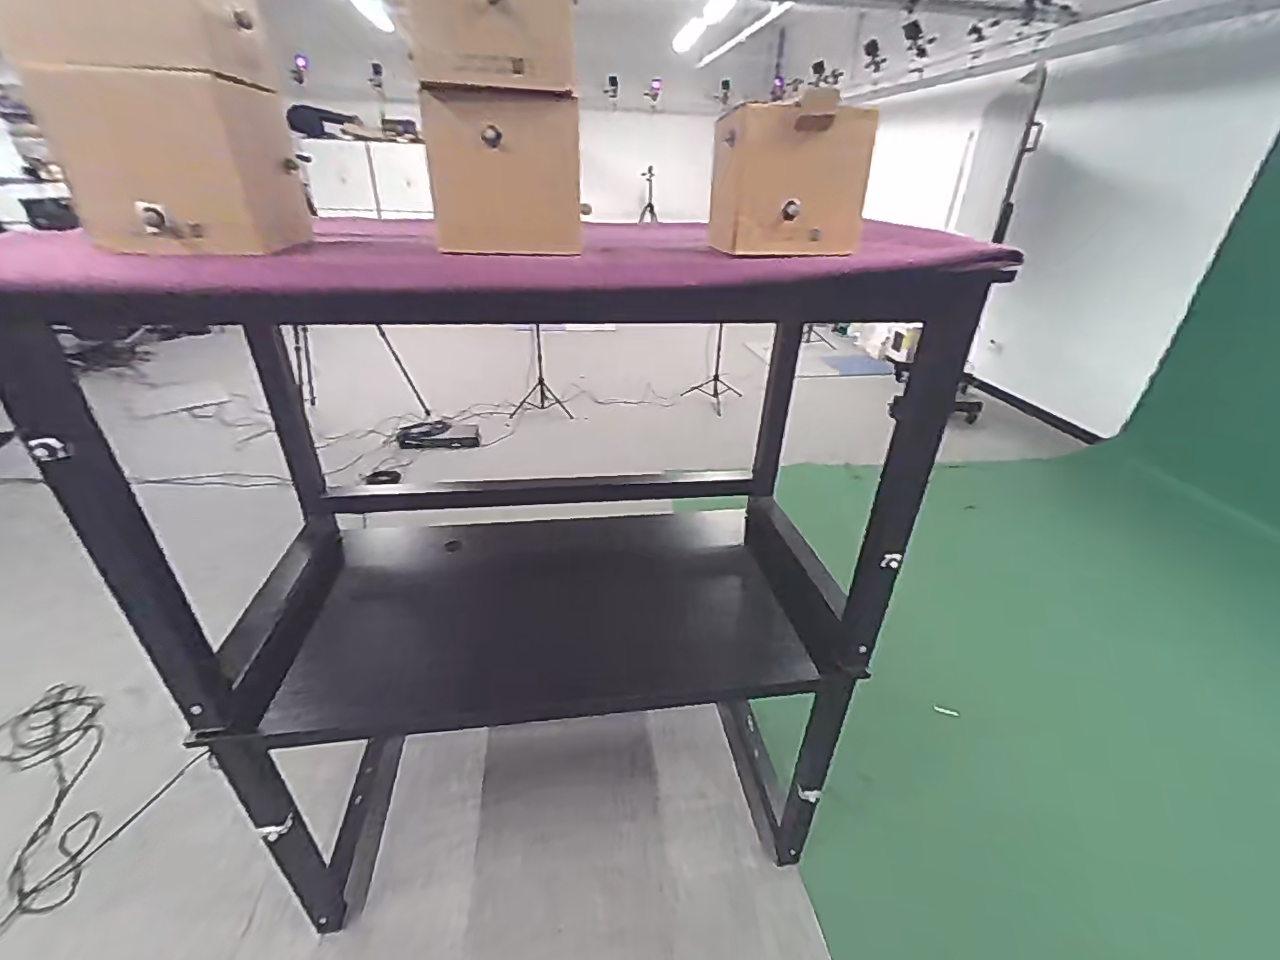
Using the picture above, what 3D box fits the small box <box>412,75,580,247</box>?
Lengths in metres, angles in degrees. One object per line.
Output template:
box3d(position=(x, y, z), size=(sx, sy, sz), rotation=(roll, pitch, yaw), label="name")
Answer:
box3d(position=(-0.168, -0.394, 0.690), size=(0.179, 0.176, 0.168), rotation=(-2, 28, -7), label="small box")

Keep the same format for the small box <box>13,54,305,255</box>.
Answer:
box3d(position=(-0.509, -0.359, 0.613), size=(0.168, 0.176, 0.179), rotation=(-5, 31, -10), label="small box")

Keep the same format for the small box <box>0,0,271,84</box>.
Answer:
box3d(position=(-0.511, -0.503, 0.533), size=(0.179, 0.176, 0.168), rotation=(-6, 31, -11), label="small box")

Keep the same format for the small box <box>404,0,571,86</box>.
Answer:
box3d(position=(-0.169, -0.533, 0.602), size=(0.168, 0.176, 0.179), rotation=(-5, 29, -11), label="small box")

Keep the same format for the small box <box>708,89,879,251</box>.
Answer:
box3d(position=(0.190, -0.408, 0.730), size=(0.168, 0.176, 0.179), rotation=(-3, 28, -4), label="small box")
